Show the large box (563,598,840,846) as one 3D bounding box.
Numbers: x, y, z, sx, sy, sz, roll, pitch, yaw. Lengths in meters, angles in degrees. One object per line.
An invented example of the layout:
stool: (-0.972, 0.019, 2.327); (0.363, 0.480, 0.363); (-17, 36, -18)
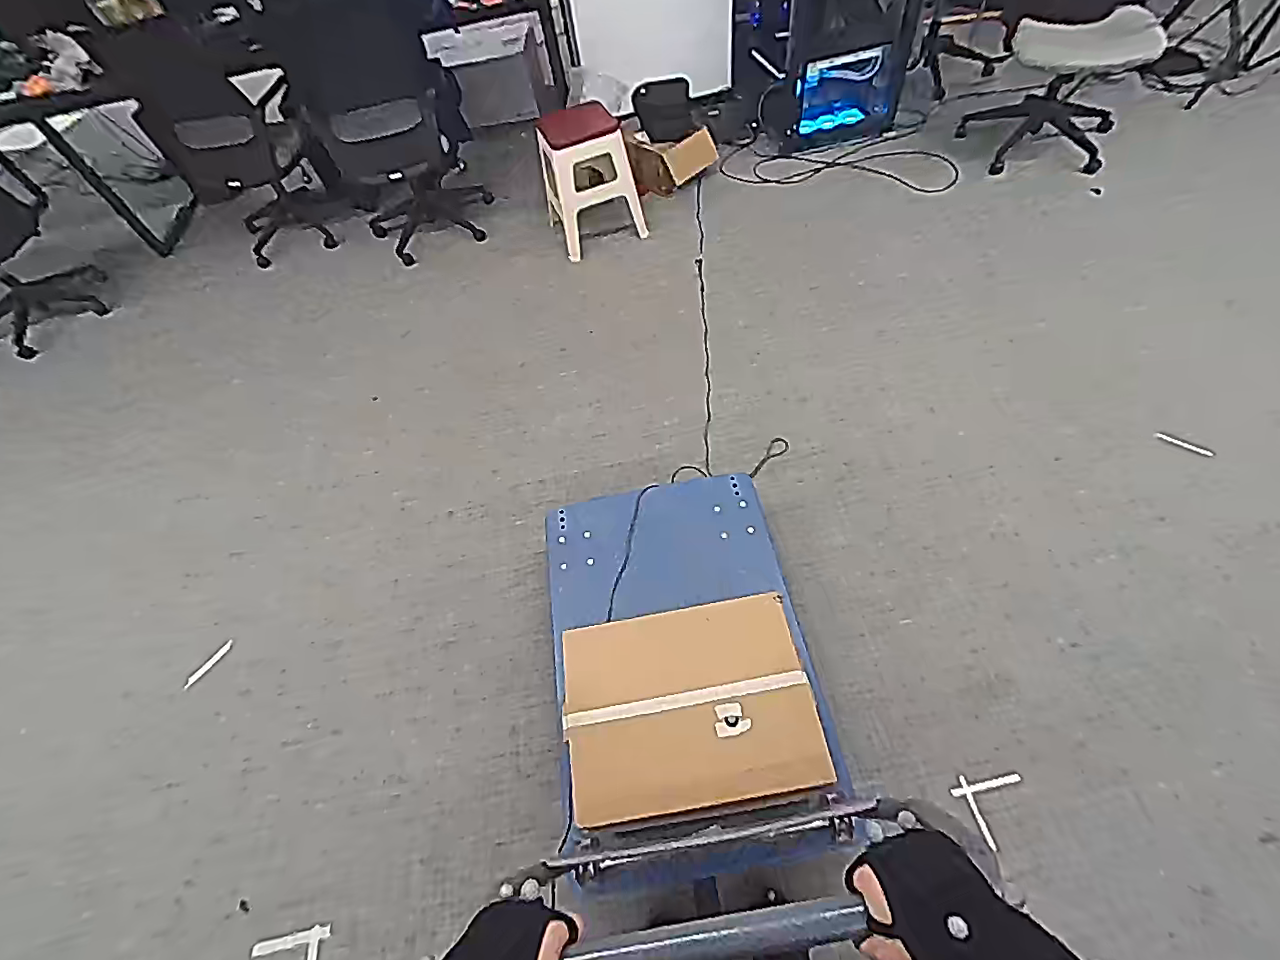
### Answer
large box: (0.094, 0.456, 1.001); (0.408, 0.320, 0.320); (-11, 56, 0)
